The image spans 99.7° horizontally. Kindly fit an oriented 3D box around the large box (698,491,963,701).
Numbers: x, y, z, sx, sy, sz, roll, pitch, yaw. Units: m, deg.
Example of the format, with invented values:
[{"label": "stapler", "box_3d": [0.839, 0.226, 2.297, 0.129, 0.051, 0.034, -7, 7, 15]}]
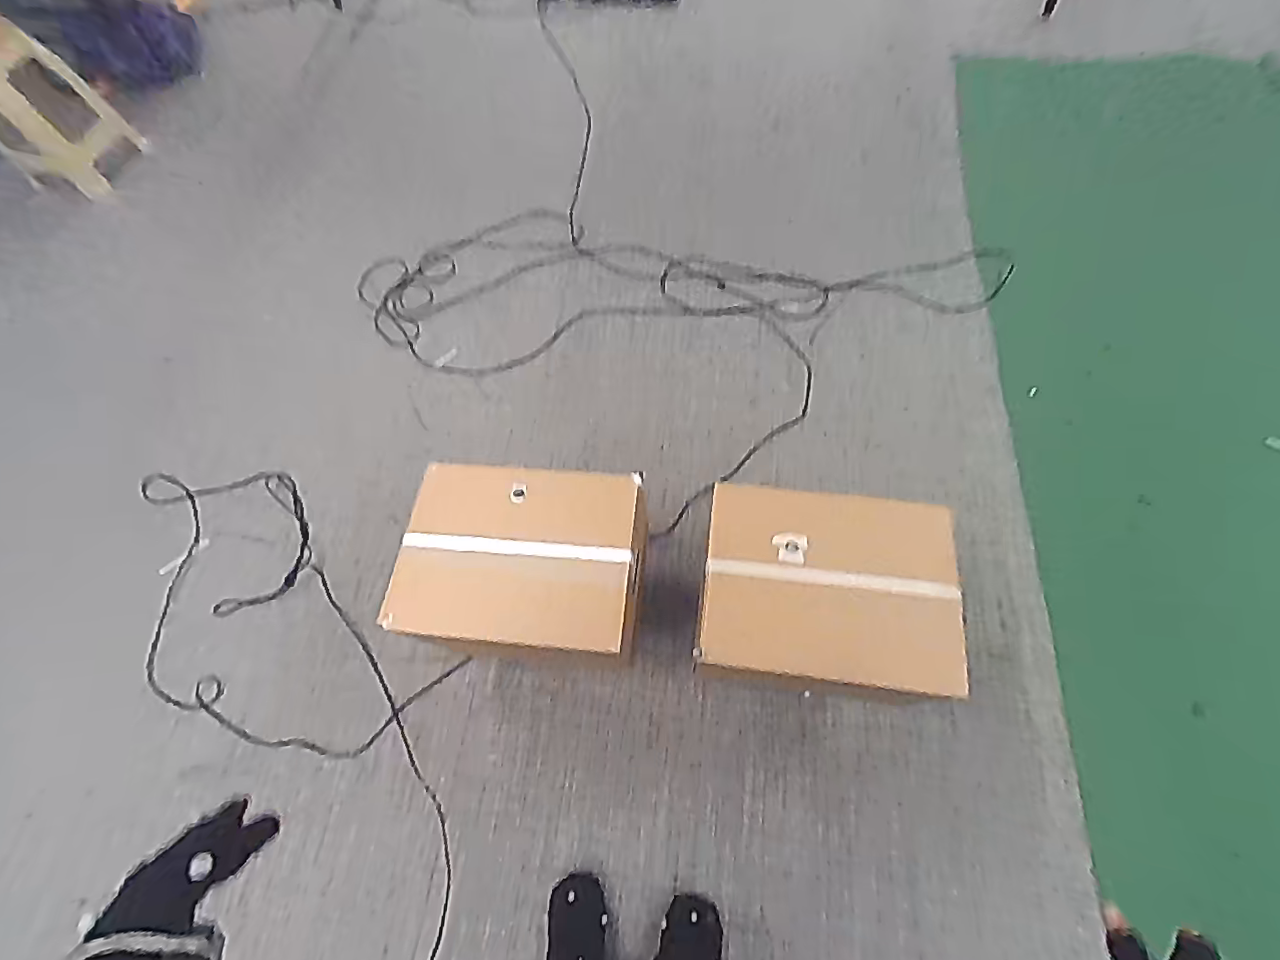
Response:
[{"label": "large box", "box_3d": [0.328, 0.235, 1.037, 0.408, 0.320, 0.320, 6, 66, 7]}]
